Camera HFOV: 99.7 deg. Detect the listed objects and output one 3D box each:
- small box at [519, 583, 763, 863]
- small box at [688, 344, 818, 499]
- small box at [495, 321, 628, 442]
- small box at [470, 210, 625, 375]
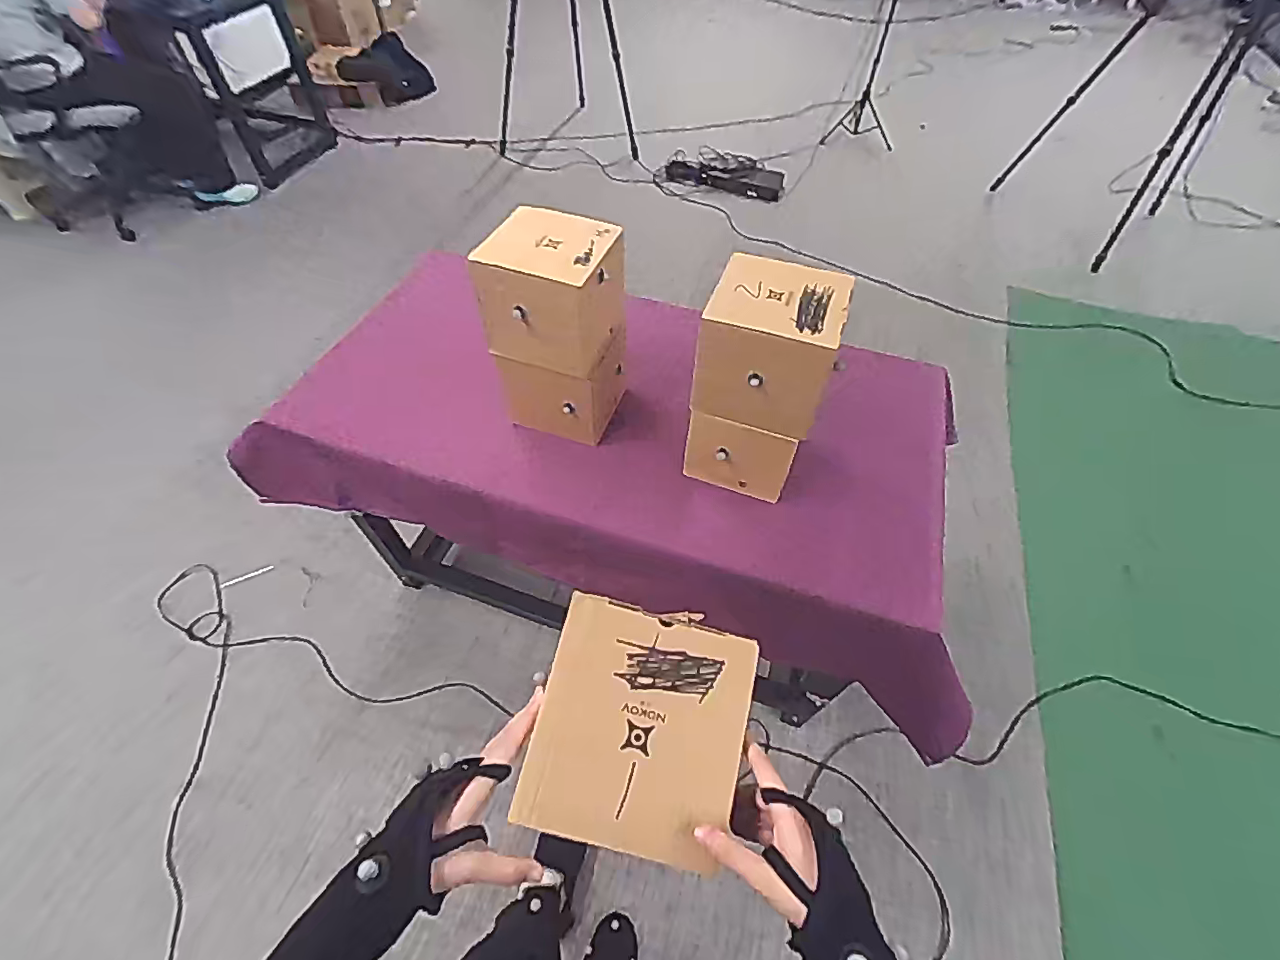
[{"bbox_3d":[-0.003,0.212,0.508,0.168,0.176,0.179,16,71,-1],"label":"small box"},{"bbox_3d":[0.183,-0.094,0.913,0.168,0.176,0.179,18,54,12],"label":"small box"},{"bbox_3d":[-0.131,-0.191,0.977,0.179,0.176,0.168,17,54,11],"label":"small box"},{"bbox_3d":[-0.132,-0.289,0.845,0.179,0.176,0.168,17,54,11],"label":"small box"}]
